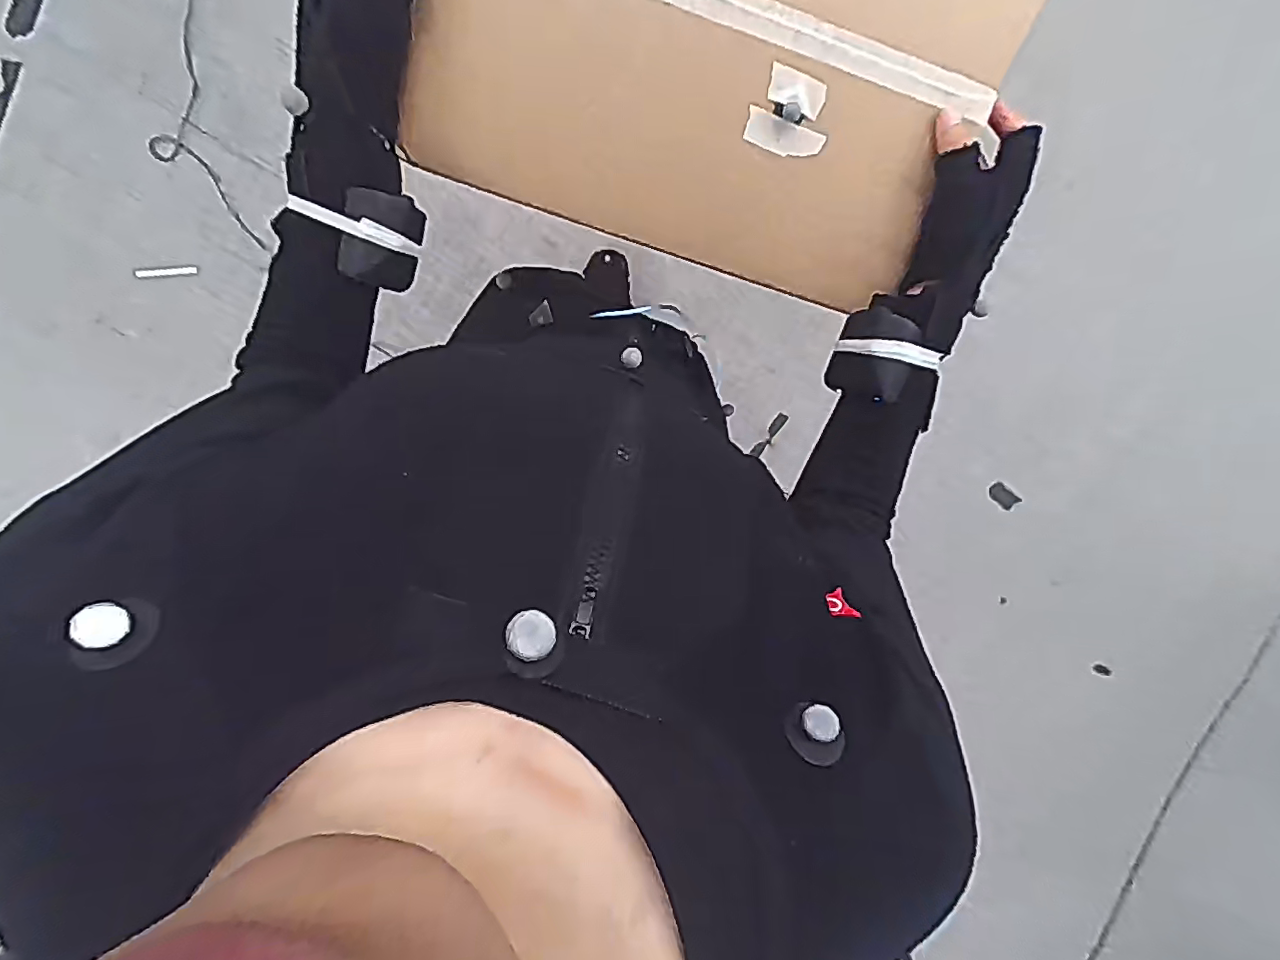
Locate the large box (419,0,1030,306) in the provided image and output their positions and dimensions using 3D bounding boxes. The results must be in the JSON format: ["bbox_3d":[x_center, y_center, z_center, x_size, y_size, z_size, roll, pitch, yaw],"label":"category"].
[{"bbox_3d":[0.059,-0.397,0.507,0.408,0.320,0.320,16,117,-9],"label":"large box"}]
